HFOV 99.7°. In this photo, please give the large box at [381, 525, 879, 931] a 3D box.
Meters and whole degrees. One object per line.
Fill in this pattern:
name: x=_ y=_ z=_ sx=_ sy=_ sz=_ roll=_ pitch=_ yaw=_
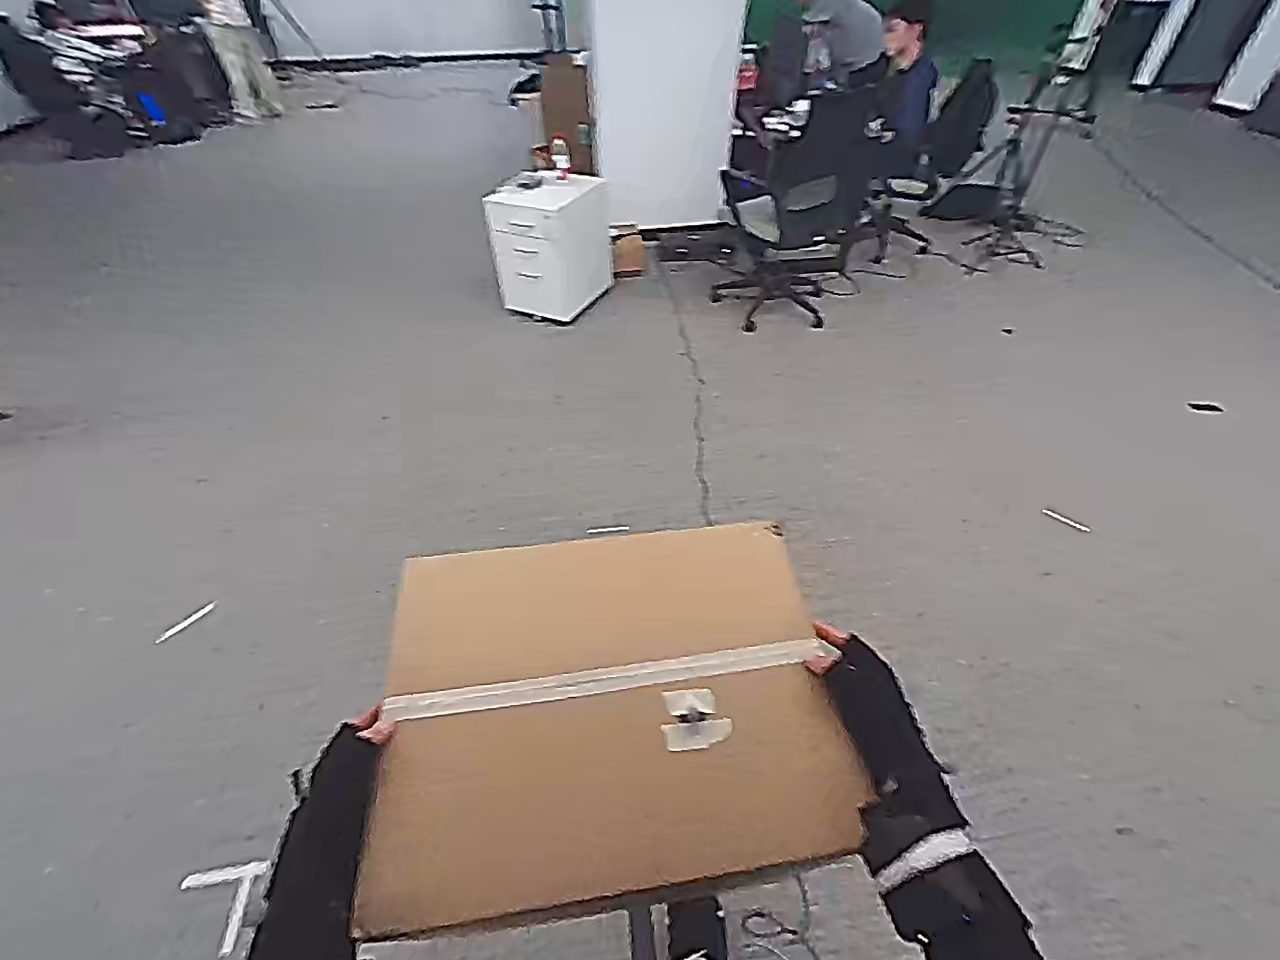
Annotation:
large box: x=-0.027 y=0.283 z=0.624 sx=0.408 sy=0.320 sz=0.320 roll=-5 pitch=51 yaw=-8
